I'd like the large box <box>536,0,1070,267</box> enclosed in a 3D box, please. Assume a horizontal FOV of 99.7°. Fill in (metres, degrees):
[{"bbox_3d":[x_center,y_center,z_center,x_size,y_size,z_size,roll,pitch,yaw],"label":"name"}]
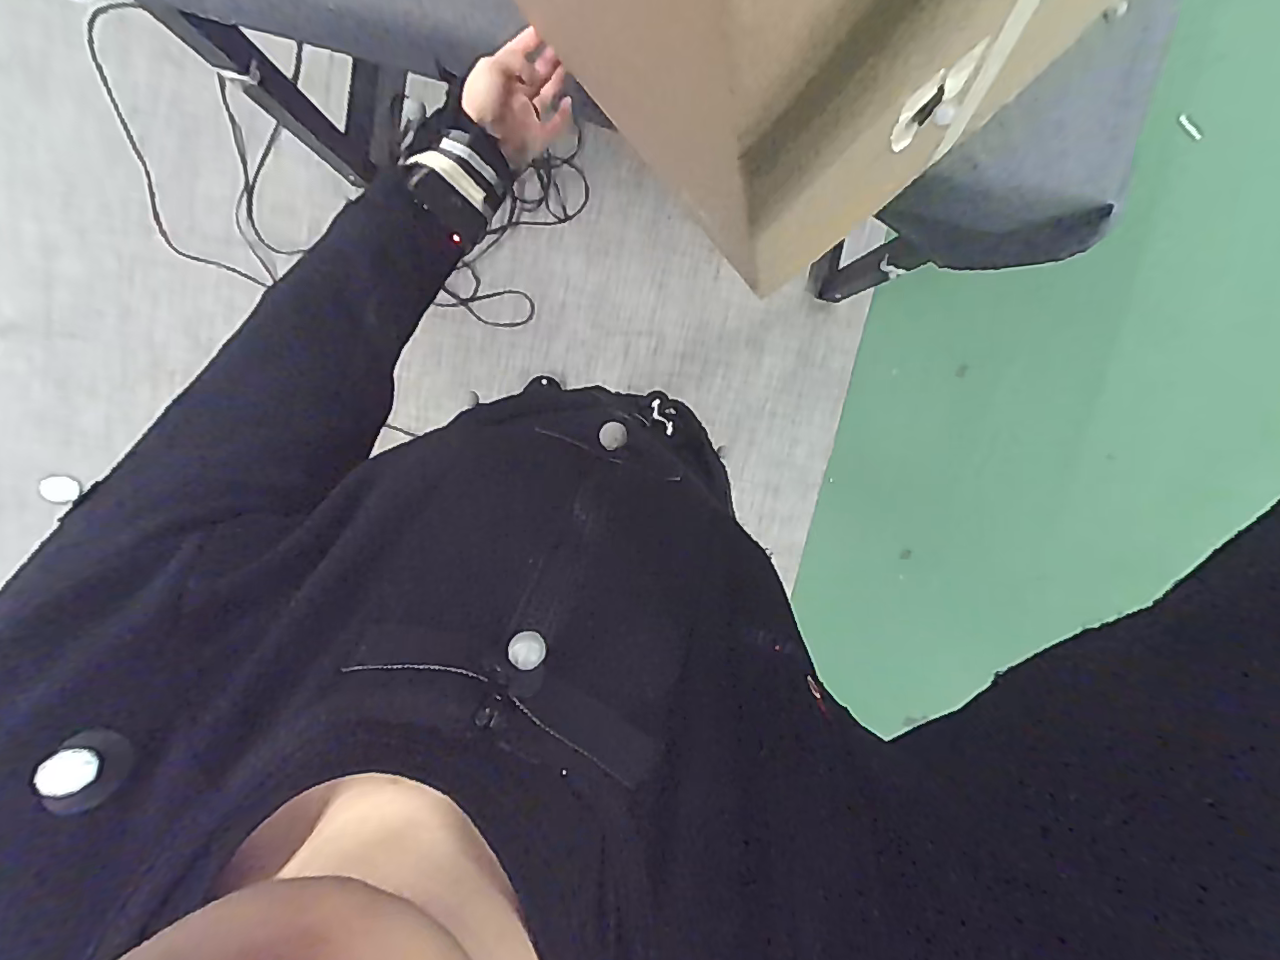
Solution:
[{"bbox_3d":[0.074,-0.361,0.228,0.320,0.408,0.320,-40,86,14],"label":"large box"}]
